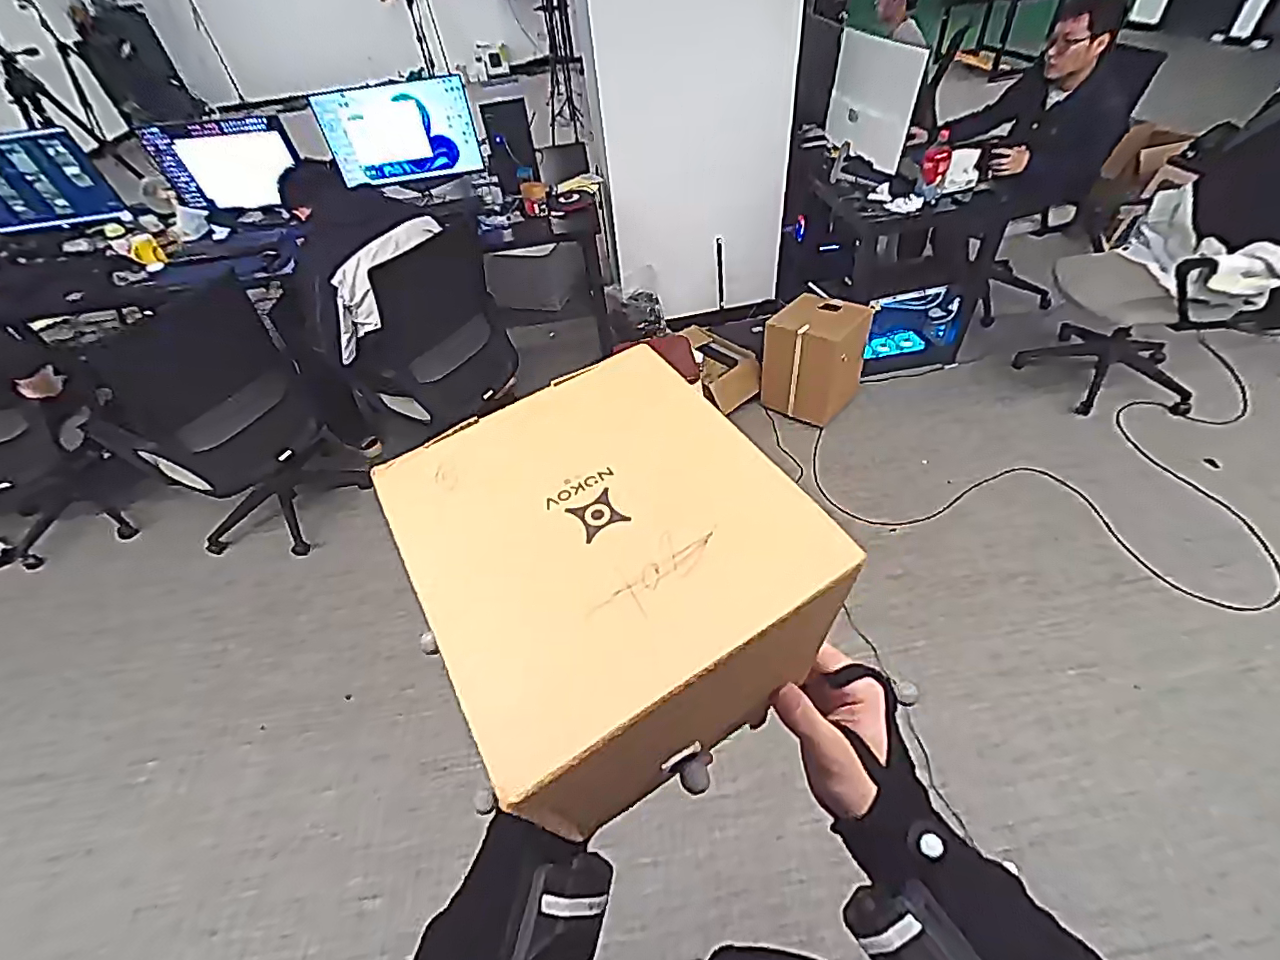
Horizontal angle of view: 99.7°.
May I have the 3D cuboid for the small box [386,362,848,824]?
[{"bbox_3d":[-0.016,0.069,0.322,0.168,0.176,0.179,-29,56,-15],"label":"small box"}]
